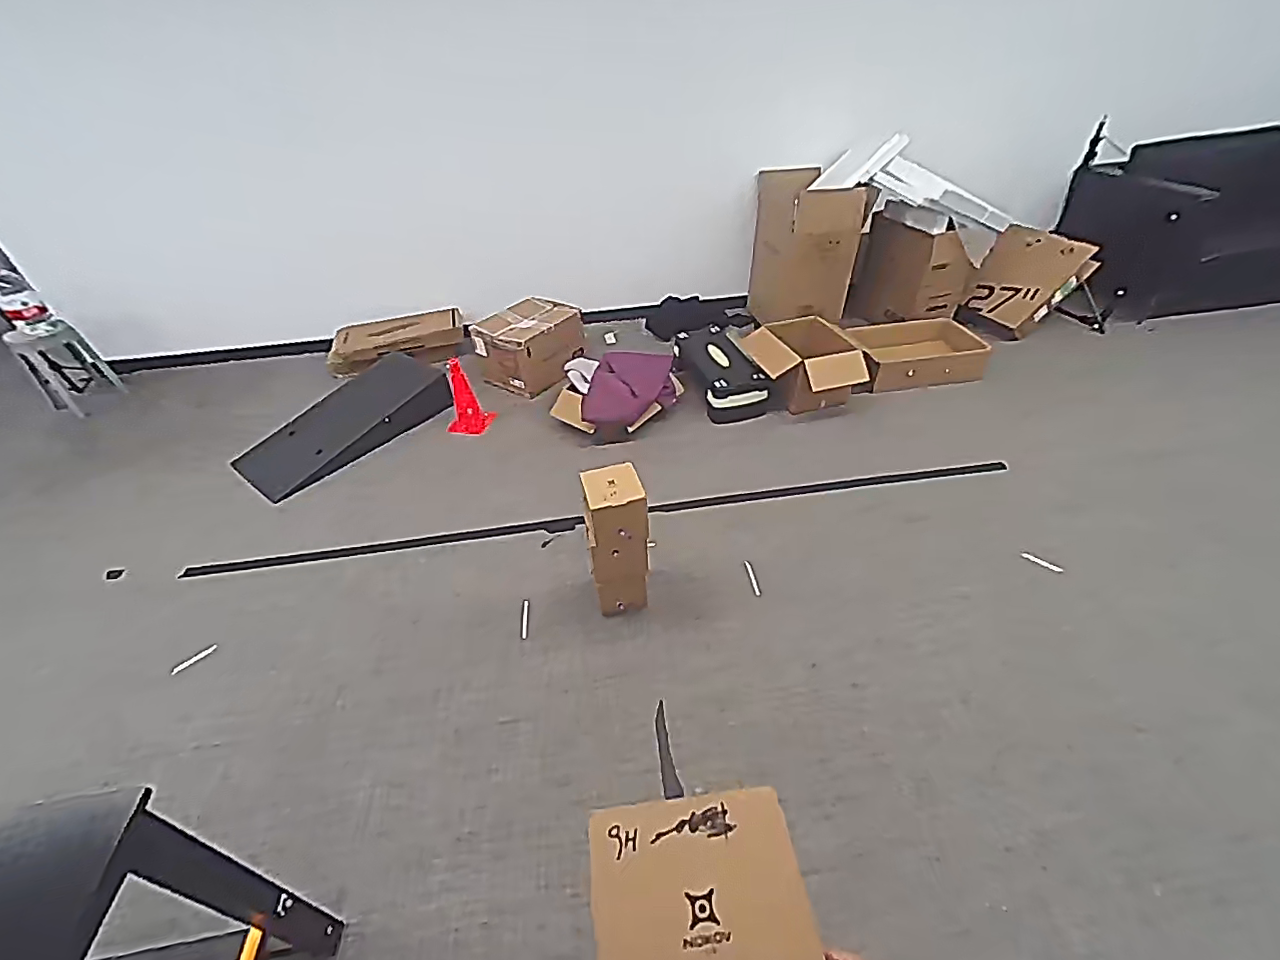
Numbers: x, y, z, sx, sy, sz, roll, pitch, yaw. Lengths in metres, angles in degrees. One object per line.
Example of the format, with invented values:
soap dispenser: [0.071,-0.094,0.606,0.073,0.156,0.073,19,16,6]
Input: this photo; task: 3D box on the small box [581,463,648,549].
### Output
small box: [-0.076,0.079,1.631,0.168,0.176,0.179,-13,41,-9]

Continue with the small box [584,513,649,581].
small box: [-0.076,0.204,1.740,0.179,0.176,0.168,-10,41,-7]

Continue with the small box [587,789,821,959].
small box: [0.048,0.391,0.451,0.168,0.176,0.179,-6,41,-5]

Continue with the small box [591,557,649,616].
small box: [-0.070,0.332,1.843,0.168,0.176,0.179,-12,42,-8]
